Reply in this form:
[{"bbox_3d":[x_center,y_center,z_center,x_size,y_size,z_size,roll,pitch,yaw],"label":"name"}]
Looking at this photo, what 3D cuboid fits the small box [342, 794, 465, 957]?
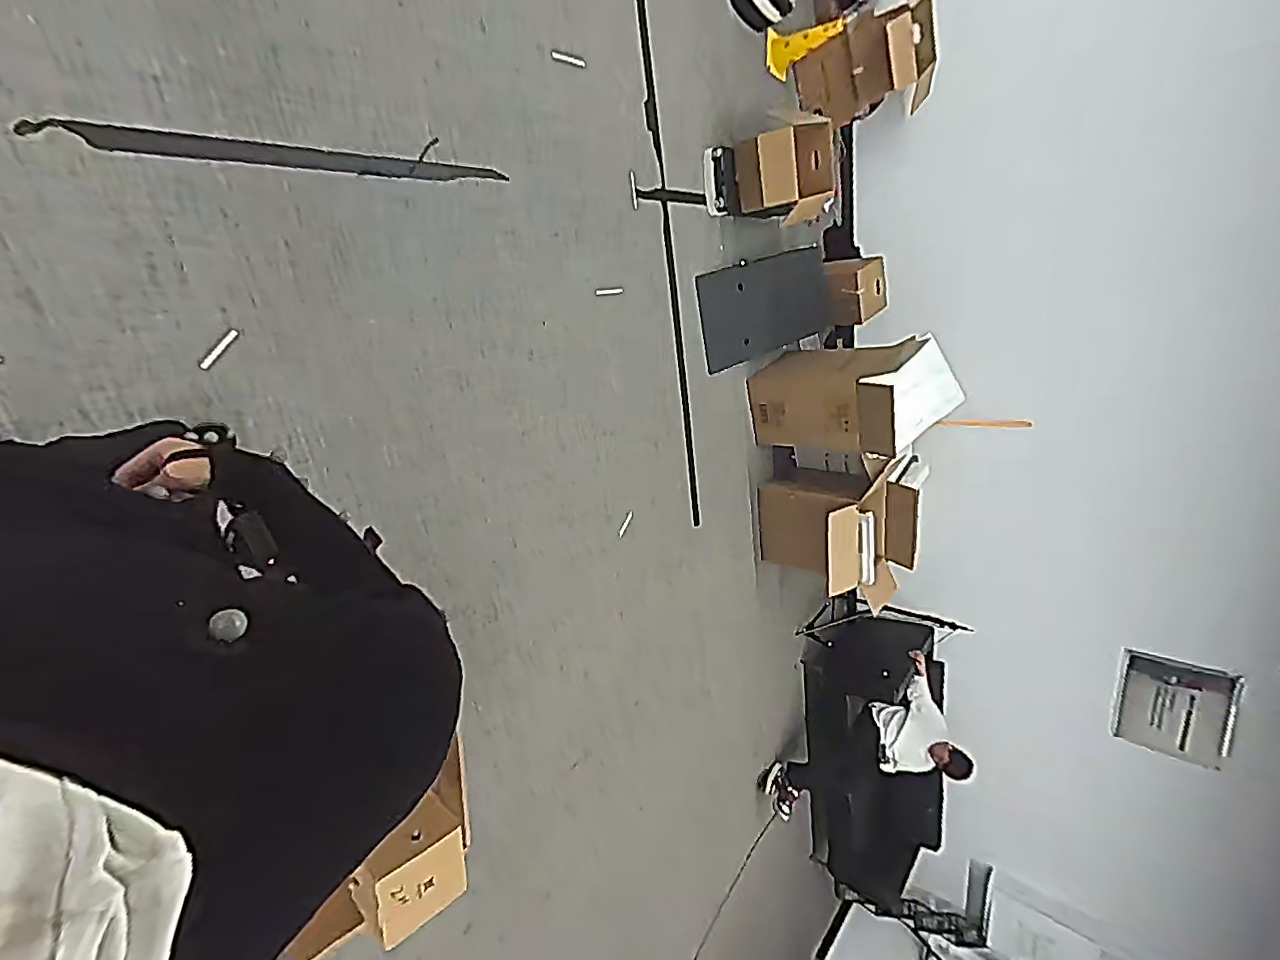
[{"bbox_3d":[-0.485,0.795,1.113,0.179,0.176,0.168,-13,107,-46],"label":"small box"}]
